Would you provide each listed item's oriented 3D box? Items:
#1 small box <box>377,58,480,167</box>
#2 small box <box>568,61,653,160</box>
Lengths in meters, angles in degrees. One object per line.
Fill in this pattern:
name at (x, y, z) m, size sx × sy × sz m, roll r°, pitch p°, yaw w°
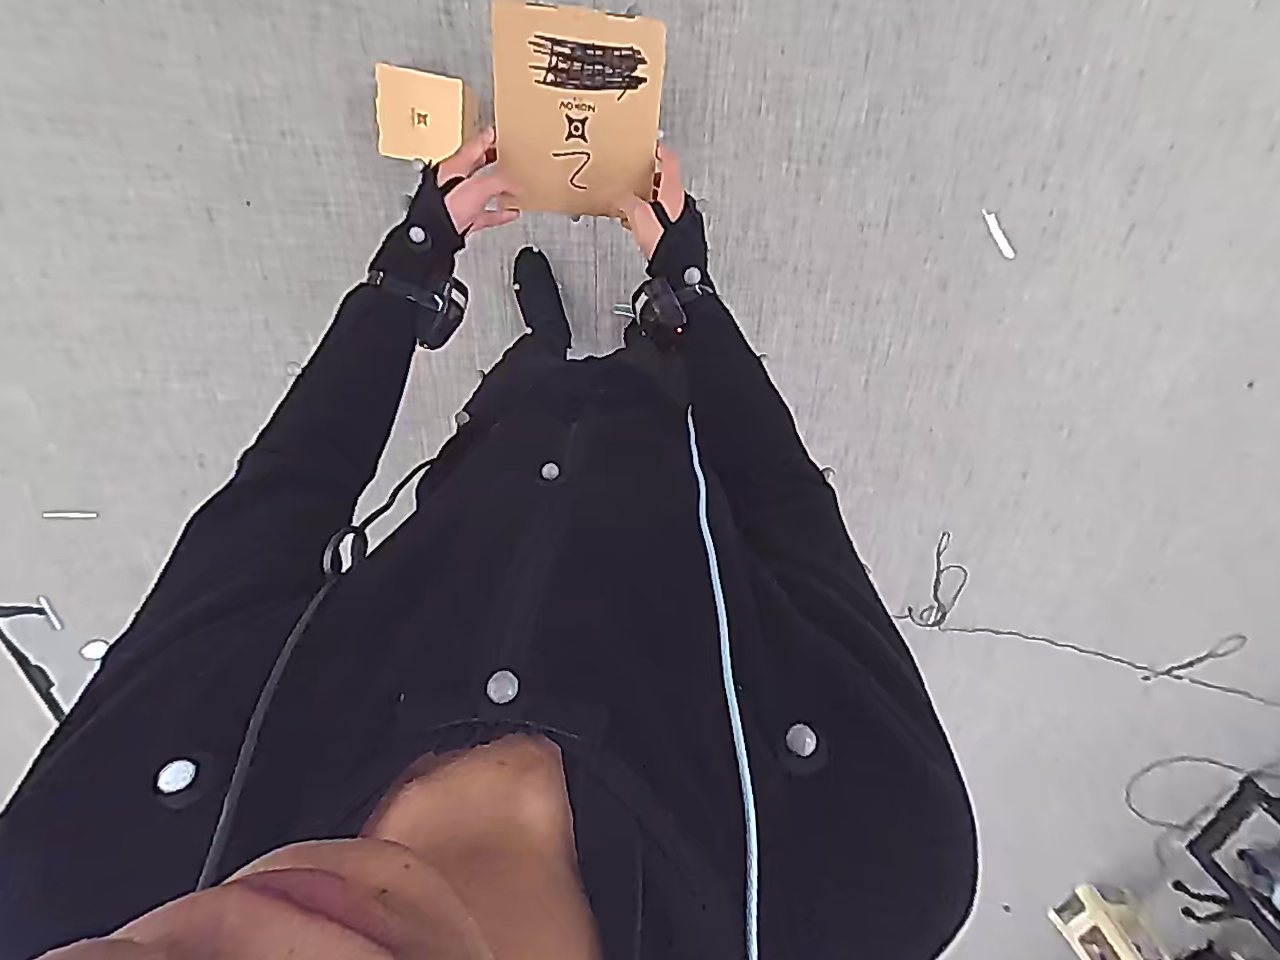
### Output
small box at (-0.461, -0.806, 1.203) m, size 0.179 × 0.176 × 0.168 m, roll 8°, pitch 117°, yaw -6°
small box at (-0.065, -0.822, 1.216) m, size 0.179 × 0.176 × 0.168 m, roll -1°, pitch 118°, yaw -4°
